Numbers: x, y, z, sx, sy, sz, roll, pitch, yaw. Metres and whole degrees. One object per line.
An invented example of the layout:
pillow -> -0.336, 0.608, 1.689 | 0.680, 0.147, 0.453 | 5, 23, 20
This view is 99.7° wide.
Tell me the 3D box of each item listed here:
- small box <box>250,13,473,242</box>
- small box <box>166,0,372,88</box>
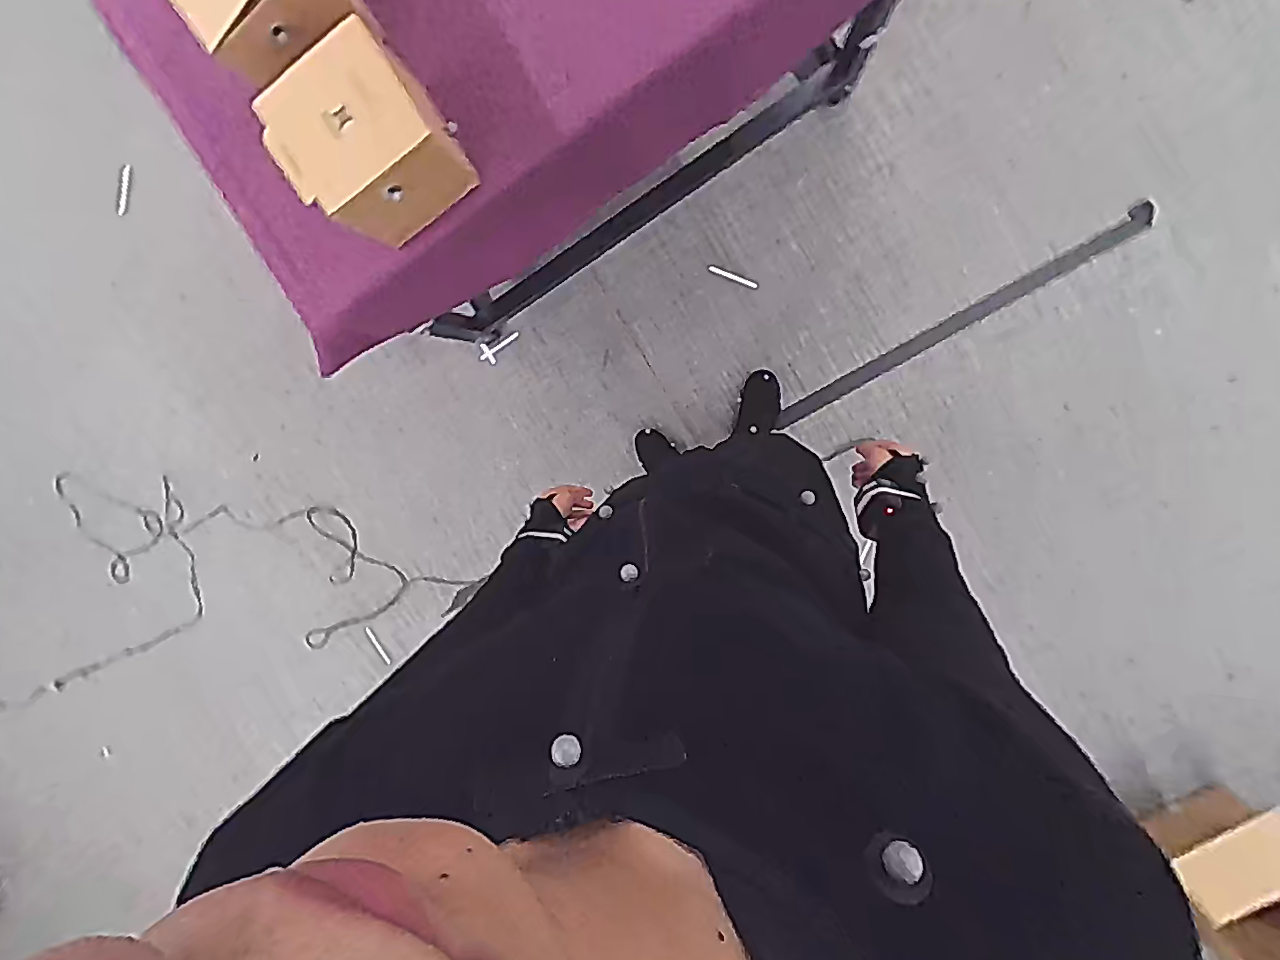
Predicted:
small box -> -0.367, -0.461, 0.746 | 0.179, 0.176, 0.168 | -32, 96, 10
small box -> -0.508, -0.657, 0.724 | 0.179, 0.176, 0.168 | -34, 96, 11
